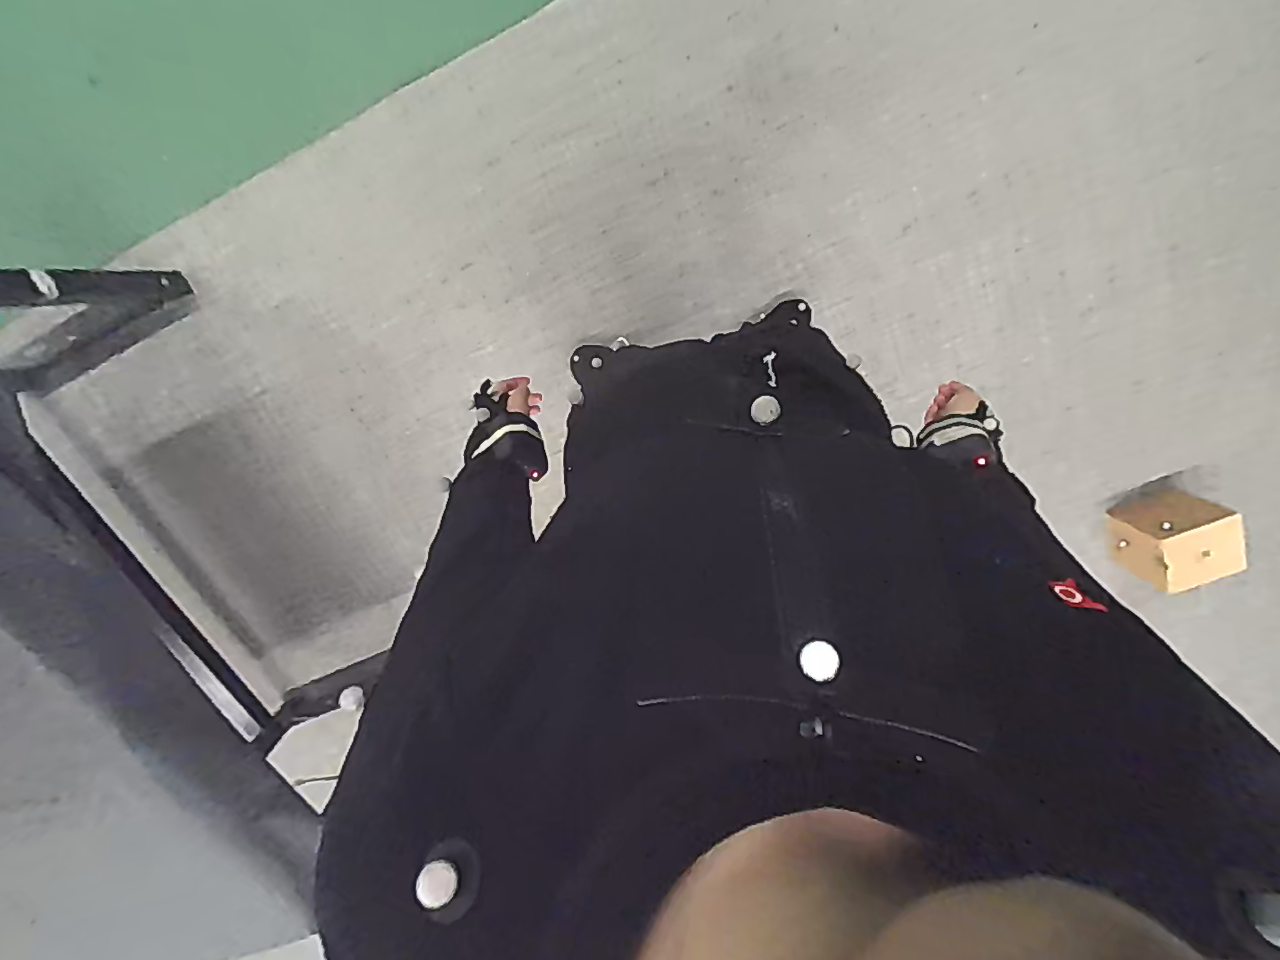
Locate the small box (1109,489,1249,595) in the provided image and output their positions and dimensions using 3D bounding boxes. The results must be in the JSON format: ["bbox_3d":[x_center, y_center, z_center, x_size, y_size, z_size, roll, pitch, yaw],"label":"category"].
[{"bbox_3d":[1.319,0.146,1.331,0.179,0.176,0.168,-24,108,10],"label":"small box"}]
